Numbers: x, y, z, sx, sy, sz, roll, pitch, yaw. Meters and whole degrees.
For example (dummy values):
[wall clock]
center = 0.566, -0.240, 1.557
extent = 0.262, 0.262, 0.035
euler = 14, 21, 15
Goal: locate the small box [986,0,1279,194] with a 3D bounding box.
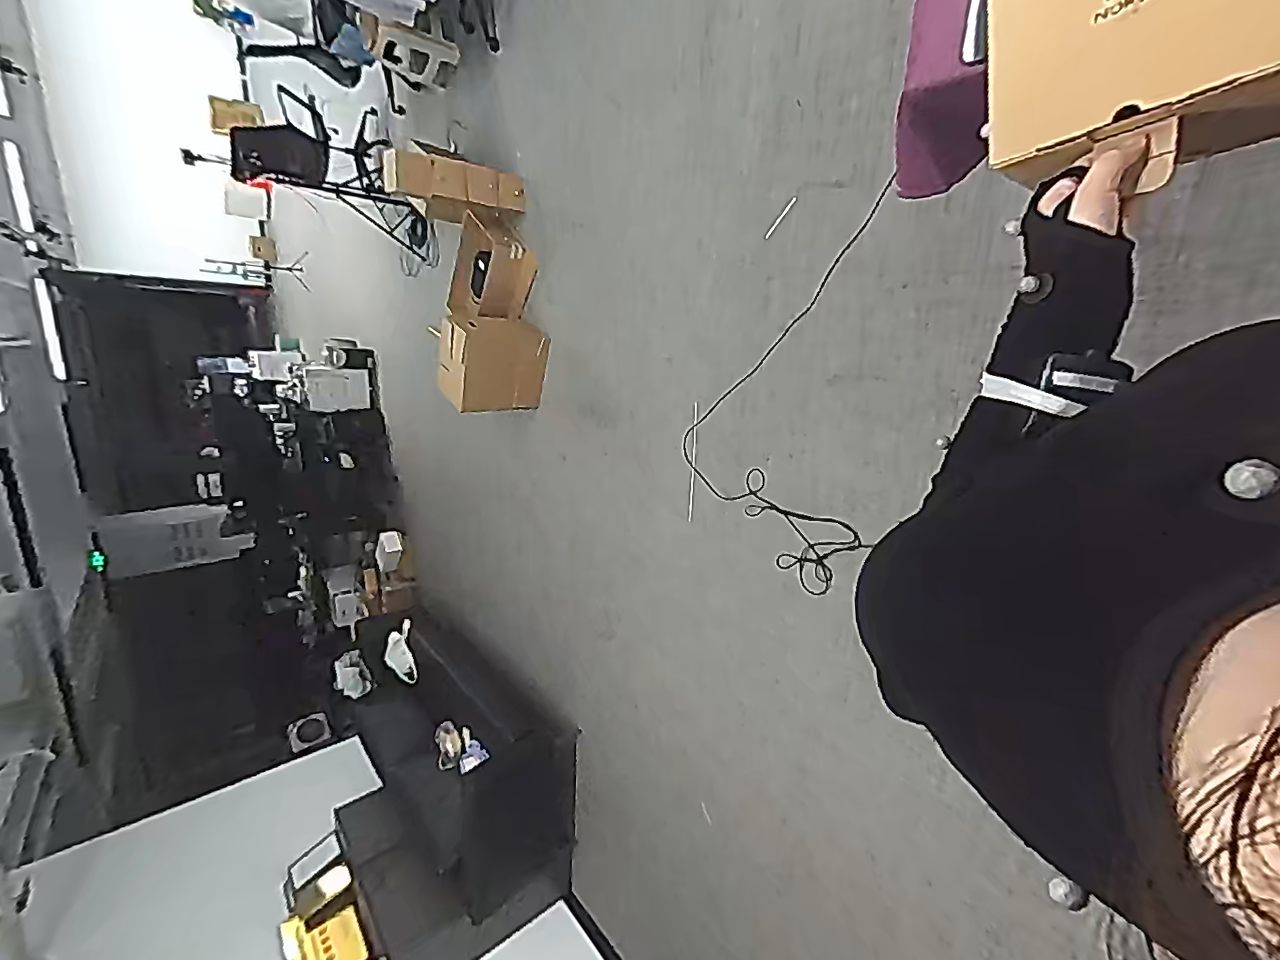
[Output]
[small box]
center = 0.387, -0.348, 0.415
extent = 0.168, 0.176, 0.179
euler = 5, 104, 50
